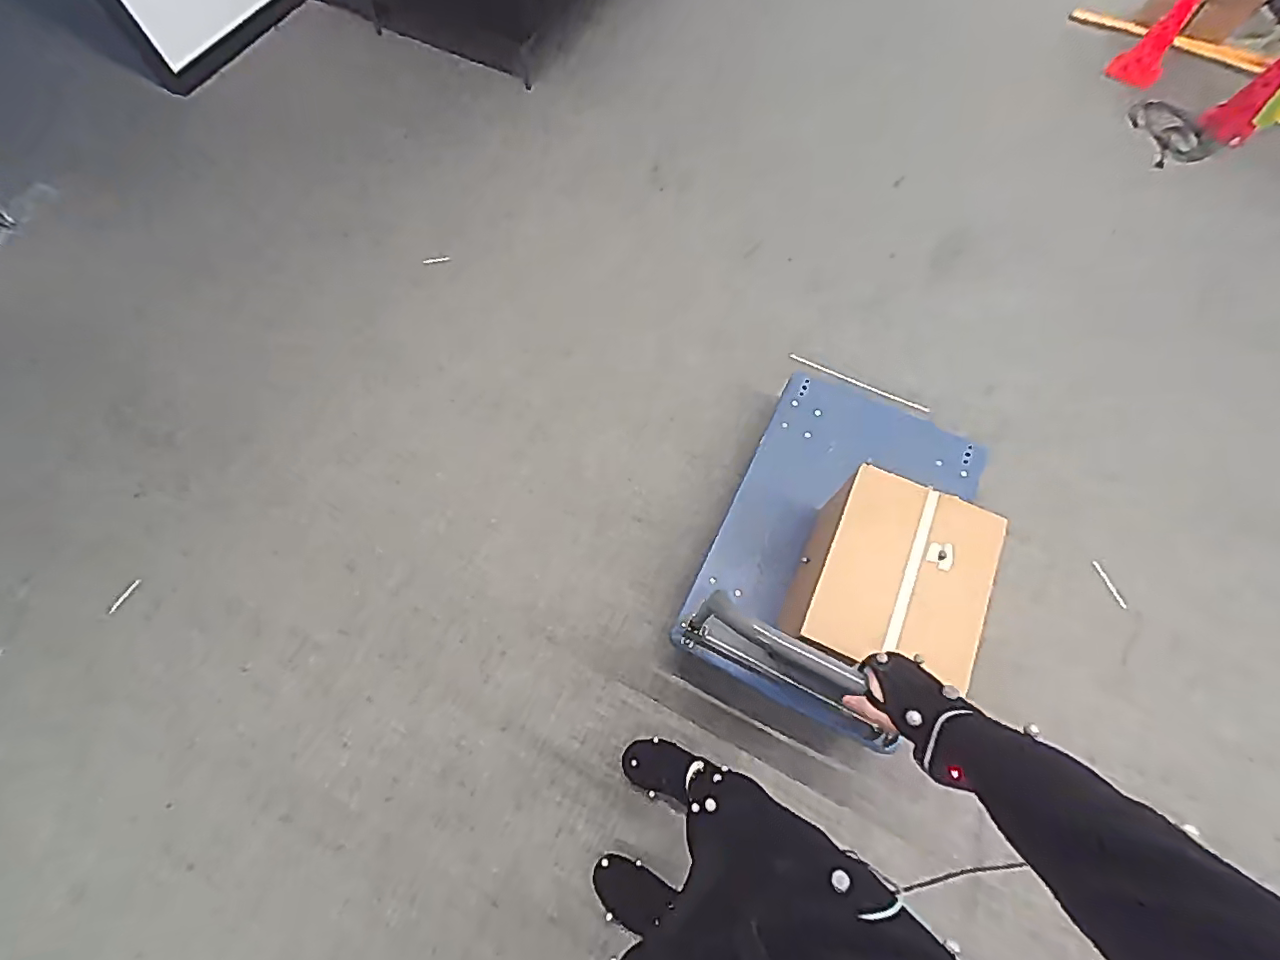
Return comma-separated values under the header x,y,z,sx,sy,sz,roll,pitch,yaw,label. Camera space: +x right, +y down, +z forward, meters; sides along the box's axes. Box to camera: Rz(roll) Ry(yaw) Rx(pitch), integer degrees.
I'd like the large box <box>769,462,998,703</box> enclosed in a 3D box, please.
x,y,z,sx,sy,sz,roll,pitch,yaw,label
0.522,0.241,1.210,0.320,0.320,0.408,24,70,9,large box
